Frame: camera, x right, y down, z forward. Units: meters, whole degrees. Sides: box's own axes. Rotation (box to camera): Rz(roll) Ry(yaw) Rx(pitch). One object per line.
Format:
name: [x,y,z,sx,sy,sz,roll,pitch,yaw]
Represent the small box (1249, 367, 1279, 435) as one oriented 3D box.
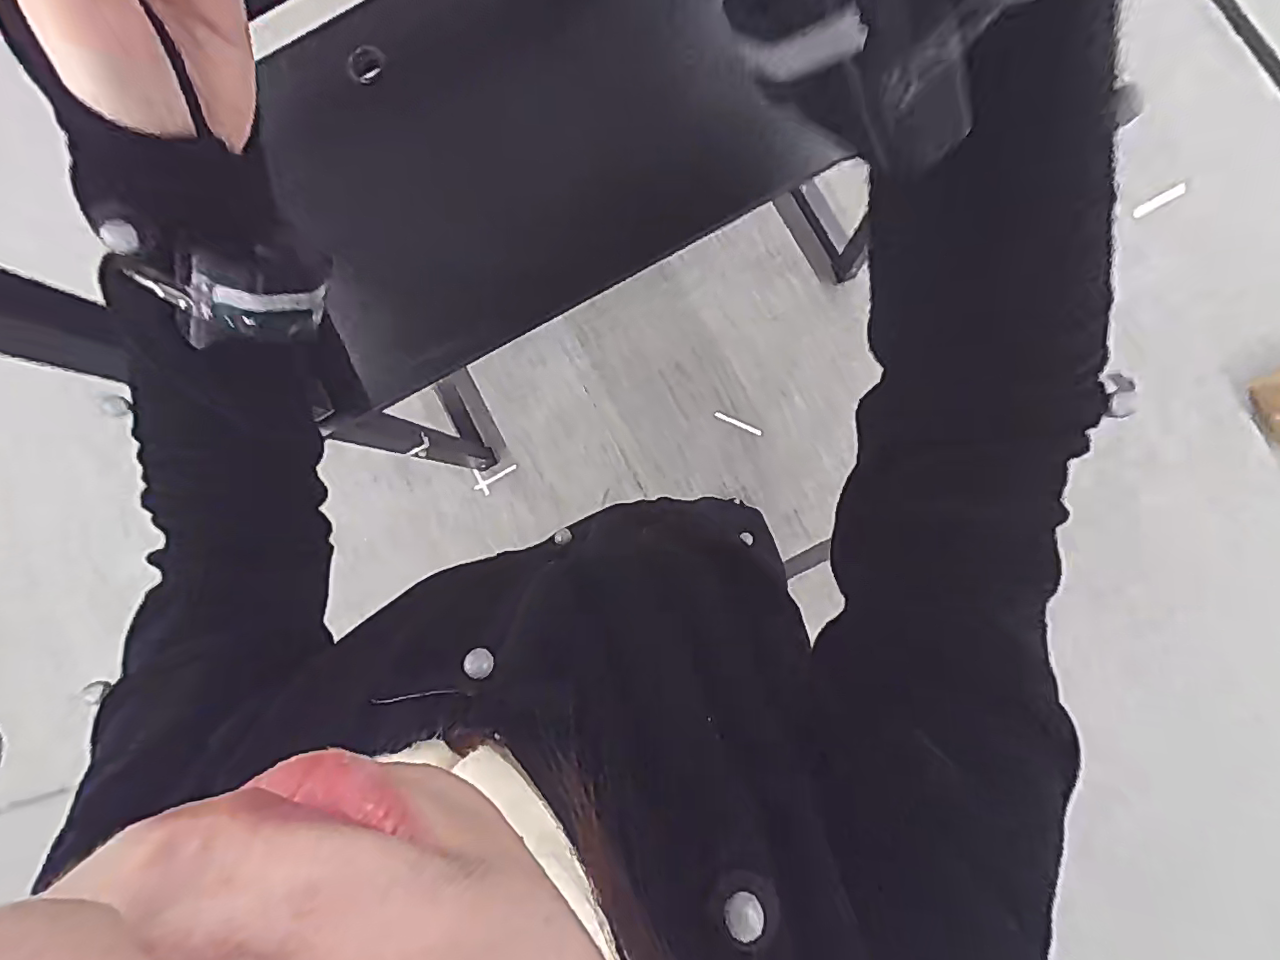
small box: [1.674,-0.210,1.311,0.168,0.176,0.179,-26,86,2]
